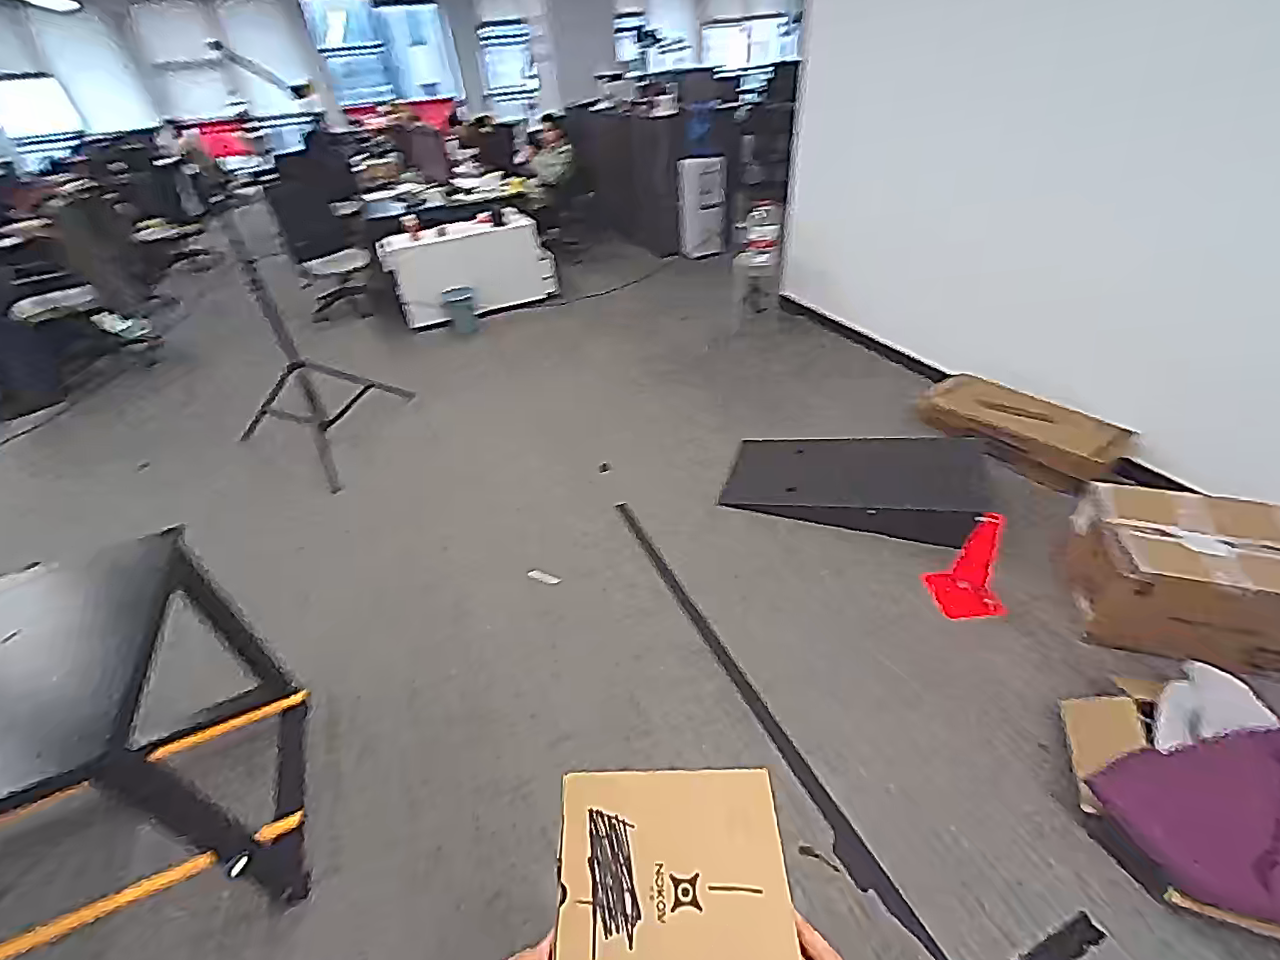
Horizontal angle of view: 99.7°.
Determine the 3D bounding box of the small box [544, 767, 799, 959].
[{"bbox_3d":[0.018,0.357,0.449,0.179,0.176,0.168,0,45,-4],"label":"small box"}]
